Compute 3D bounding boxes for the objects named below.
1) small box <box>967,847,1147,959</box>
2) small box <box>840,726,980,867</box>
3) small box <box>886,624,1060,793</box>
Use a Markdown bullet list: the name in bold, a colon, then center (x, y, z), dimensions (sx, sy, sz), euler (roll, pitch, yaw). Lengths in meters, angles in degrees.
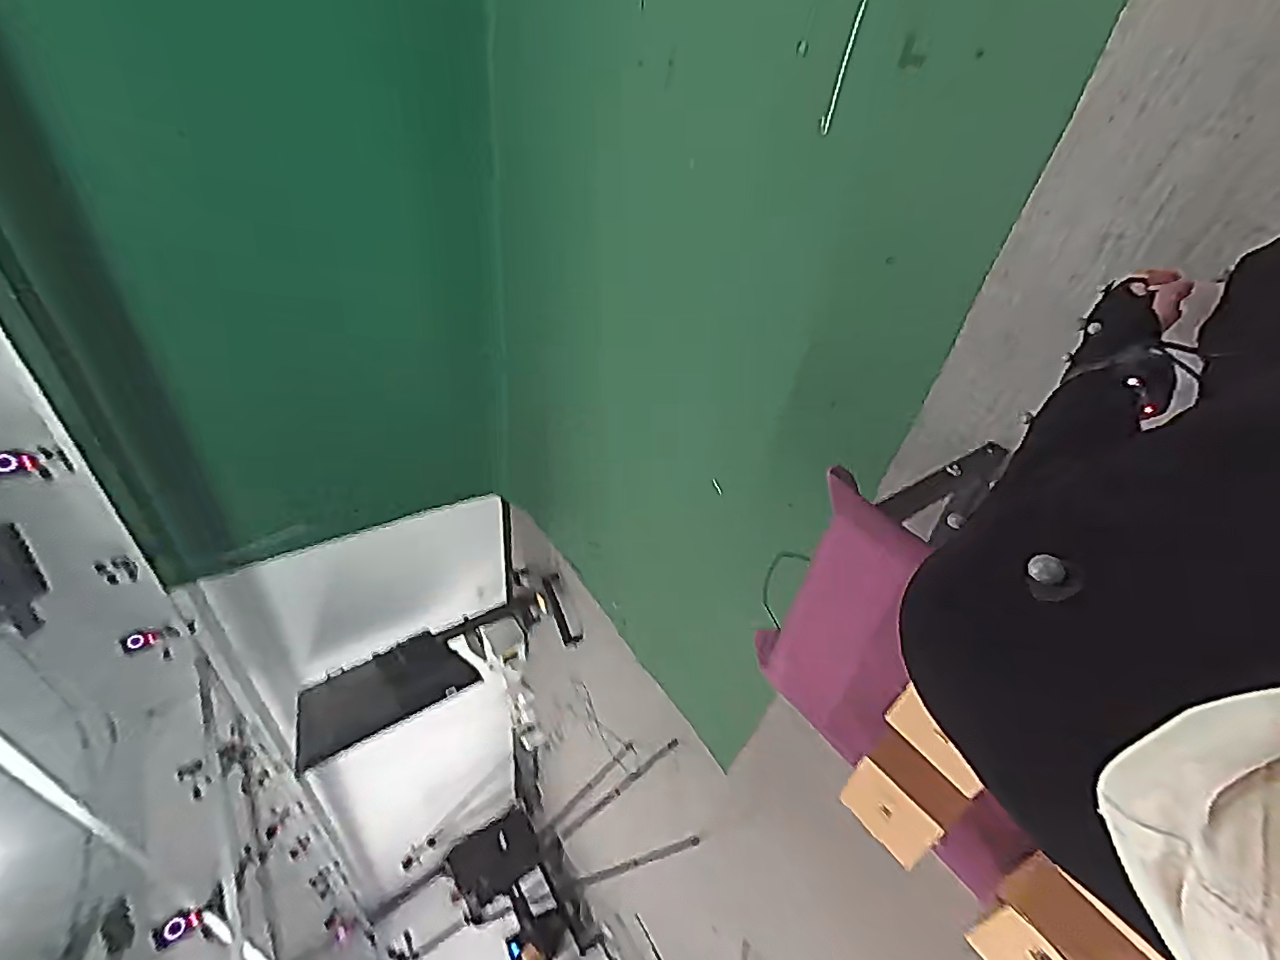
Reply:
- **small box**: center (0.712, 0.778, 0.924), dimensions (0.168, 0.176, 0.179), euler (42, 138, 38)
- **small box**: center (0.547, 0.625, 1.098), dimensions (0.168, 0.176, 0.179), euler (40, 136, 38)
- **small box**: center (0.571, 0.387, 0.932), dimensions (0.168, 0.176, 0.179), euler (43, 139, 36)
